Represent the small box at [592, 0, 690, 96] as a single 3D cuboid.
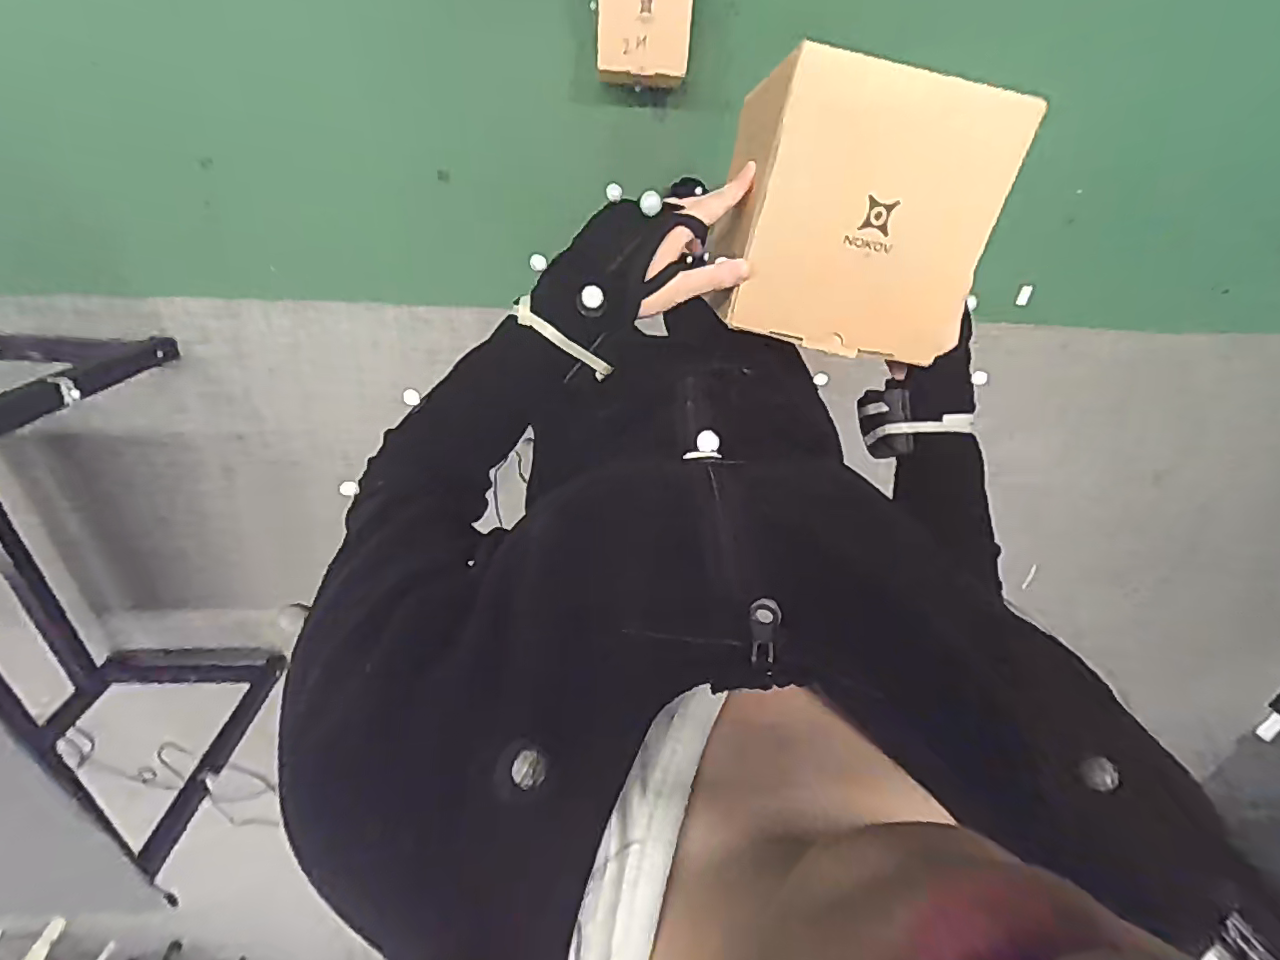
[{"bbox_3d":[-0.004,-0.847,1.016,0.168,0.176,0.179,1,119,-5],"label":"small box"}]
